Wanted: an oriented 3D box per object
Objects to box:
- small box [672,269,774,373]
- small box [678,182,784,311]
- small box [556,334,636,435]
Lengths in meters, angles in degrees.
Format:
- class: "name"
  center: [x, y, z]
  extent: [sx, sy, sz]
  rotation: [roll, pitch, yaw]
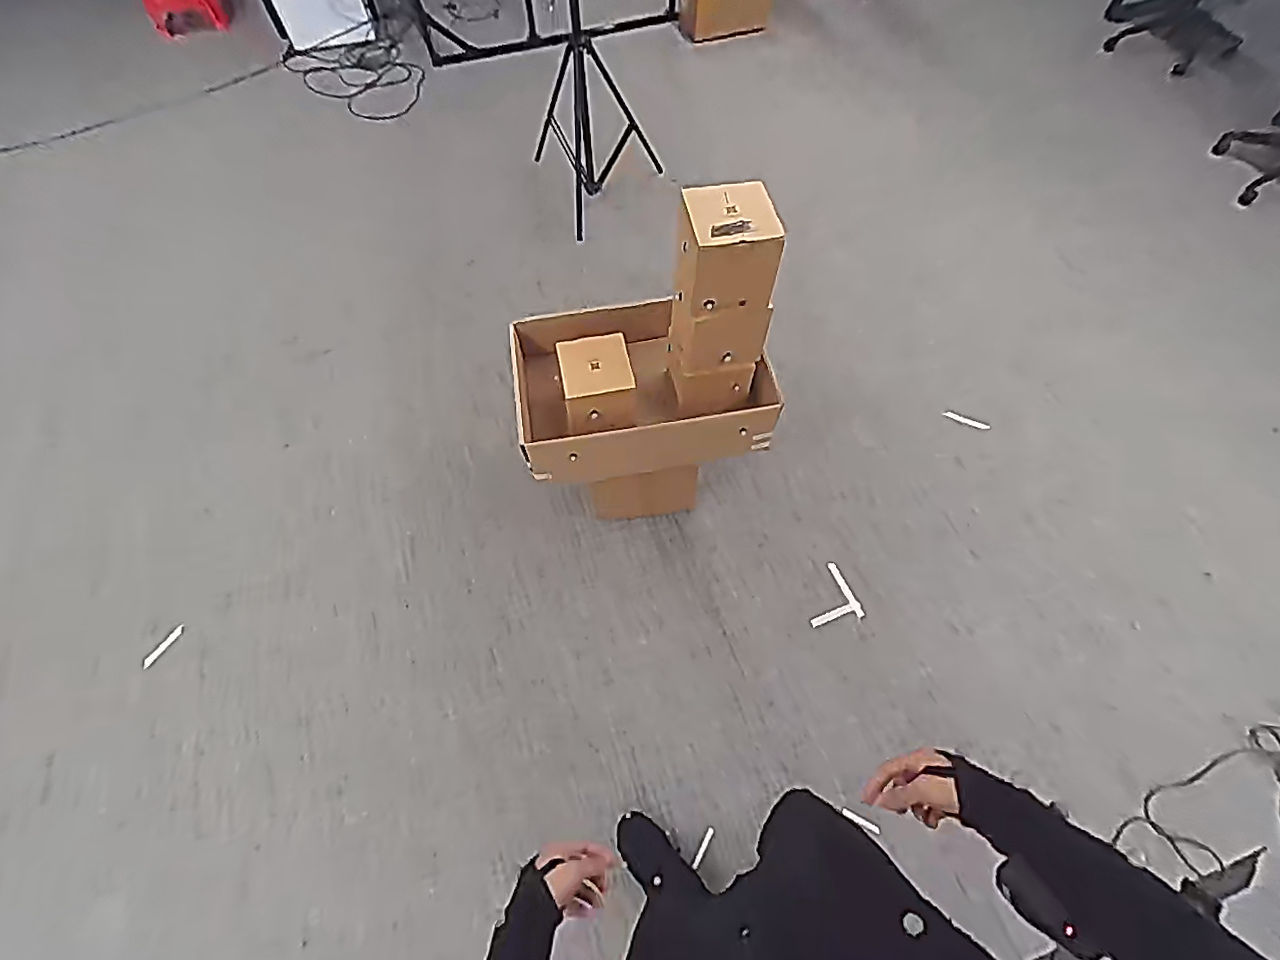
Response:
- class: "small box"
  center: [0.177, -0.365, 1.218]
  extent: [0.179, 0.176, 0.168]
  rotation: [-11, 62, -6]
- class: "small box"
  center: [0.172, -0.457, 1.080]
  extent: [0.168, 0.176, 0.179]
  rotation: [-8, 61, -4]
- class: "small box"
  center: [-0.105, -0.227, 1.335]
  extent: [0.168, 0.176, 0.179]
  rotation: [-11, 61, -6]
